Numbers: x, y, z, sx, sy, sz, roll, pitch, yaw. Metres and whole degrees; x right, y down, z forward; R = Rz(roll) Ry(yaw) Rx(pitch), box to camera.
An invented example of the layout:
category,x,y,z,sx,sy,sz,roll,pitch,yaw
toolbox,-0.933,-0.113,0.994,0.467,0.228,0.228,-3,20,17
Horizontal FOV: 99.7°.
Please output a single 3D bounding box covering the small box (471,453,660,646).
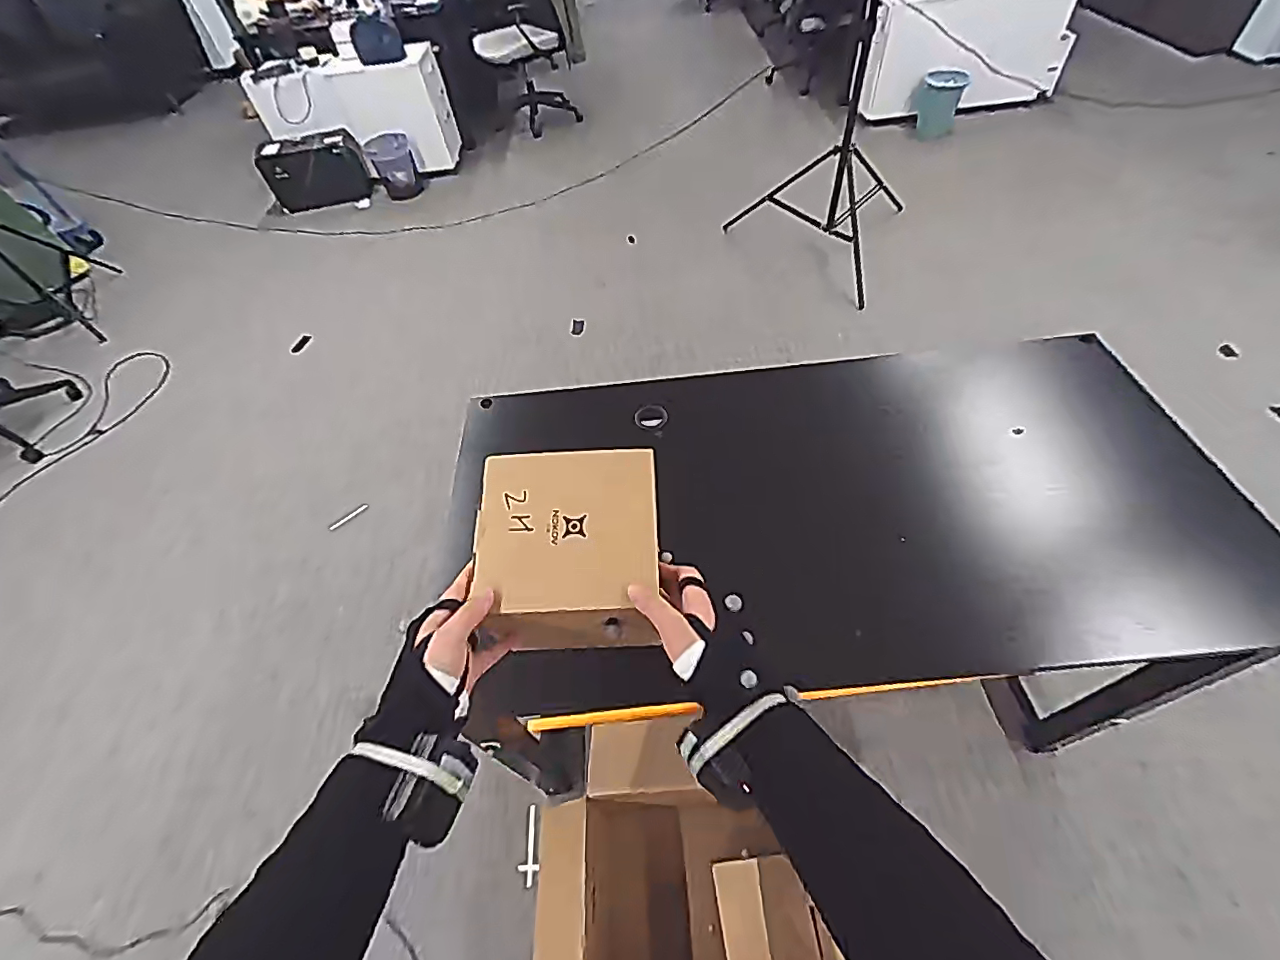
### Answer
category,x,y,z,sx,sy,sz,roll,pitch,yaw
small box,-0.069,0.084,0.602,0.179,0.176,0.168,-3,61,1
